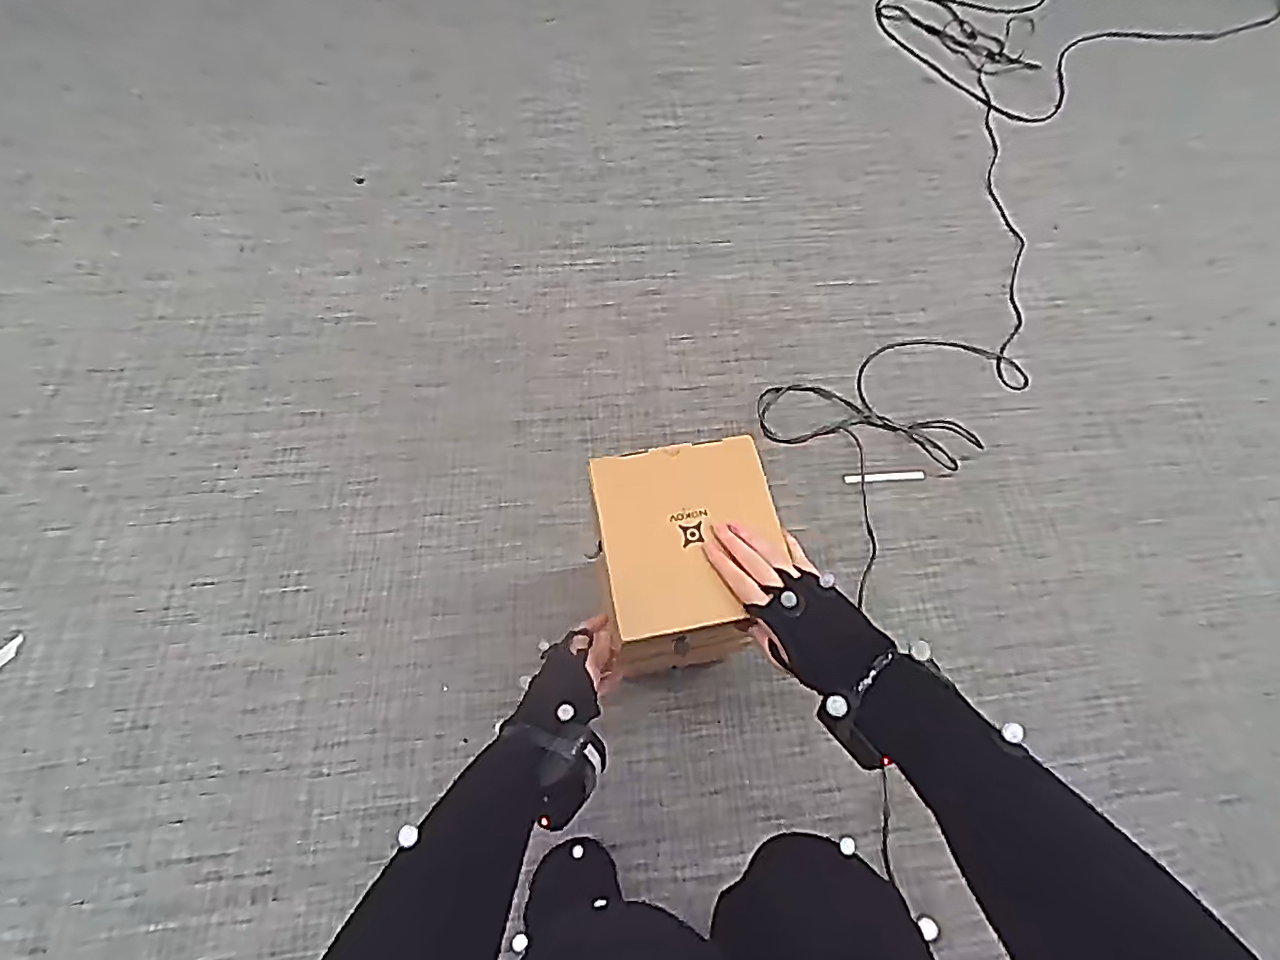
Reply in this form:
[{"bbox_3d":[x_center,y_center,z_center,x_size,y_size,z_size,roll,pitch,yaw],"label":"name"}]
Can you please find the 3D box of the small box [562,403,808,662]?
[{"bbox_3d":[0.044,0.050,0.534,0.179,0.176,0.168,-22,48,6],"label":"small box"}]
